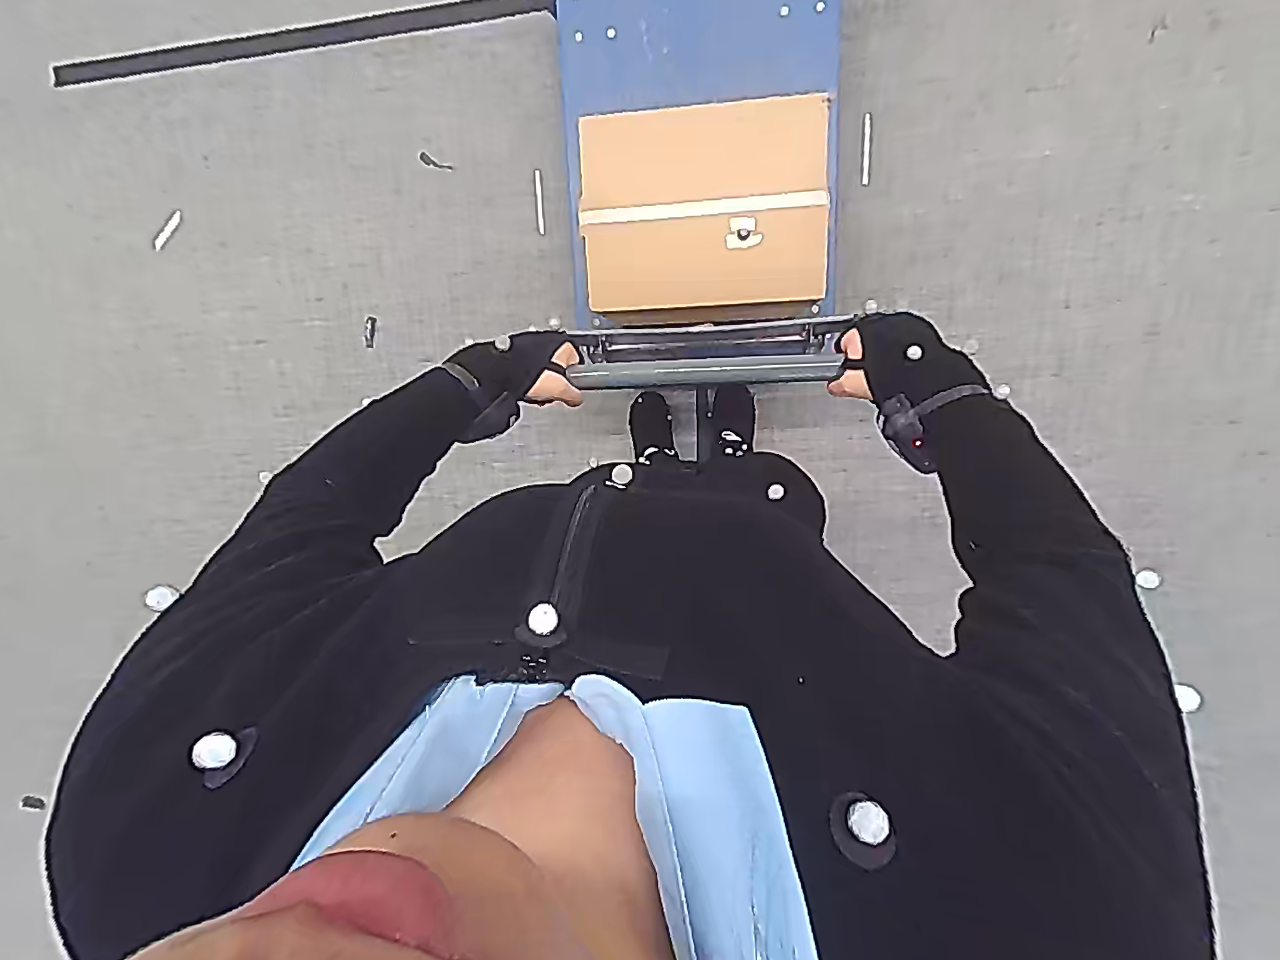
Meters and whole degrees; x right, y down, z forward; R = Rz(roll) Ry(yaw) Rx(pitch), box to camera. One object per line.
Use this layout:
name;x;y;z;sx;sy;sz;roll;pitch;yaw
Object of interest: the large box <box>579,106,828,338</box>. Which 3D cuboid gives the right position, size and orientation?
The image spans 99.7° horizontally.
large box;0.117;-0.455;1.037;0.408;0.320;0.320;-2;101;6
